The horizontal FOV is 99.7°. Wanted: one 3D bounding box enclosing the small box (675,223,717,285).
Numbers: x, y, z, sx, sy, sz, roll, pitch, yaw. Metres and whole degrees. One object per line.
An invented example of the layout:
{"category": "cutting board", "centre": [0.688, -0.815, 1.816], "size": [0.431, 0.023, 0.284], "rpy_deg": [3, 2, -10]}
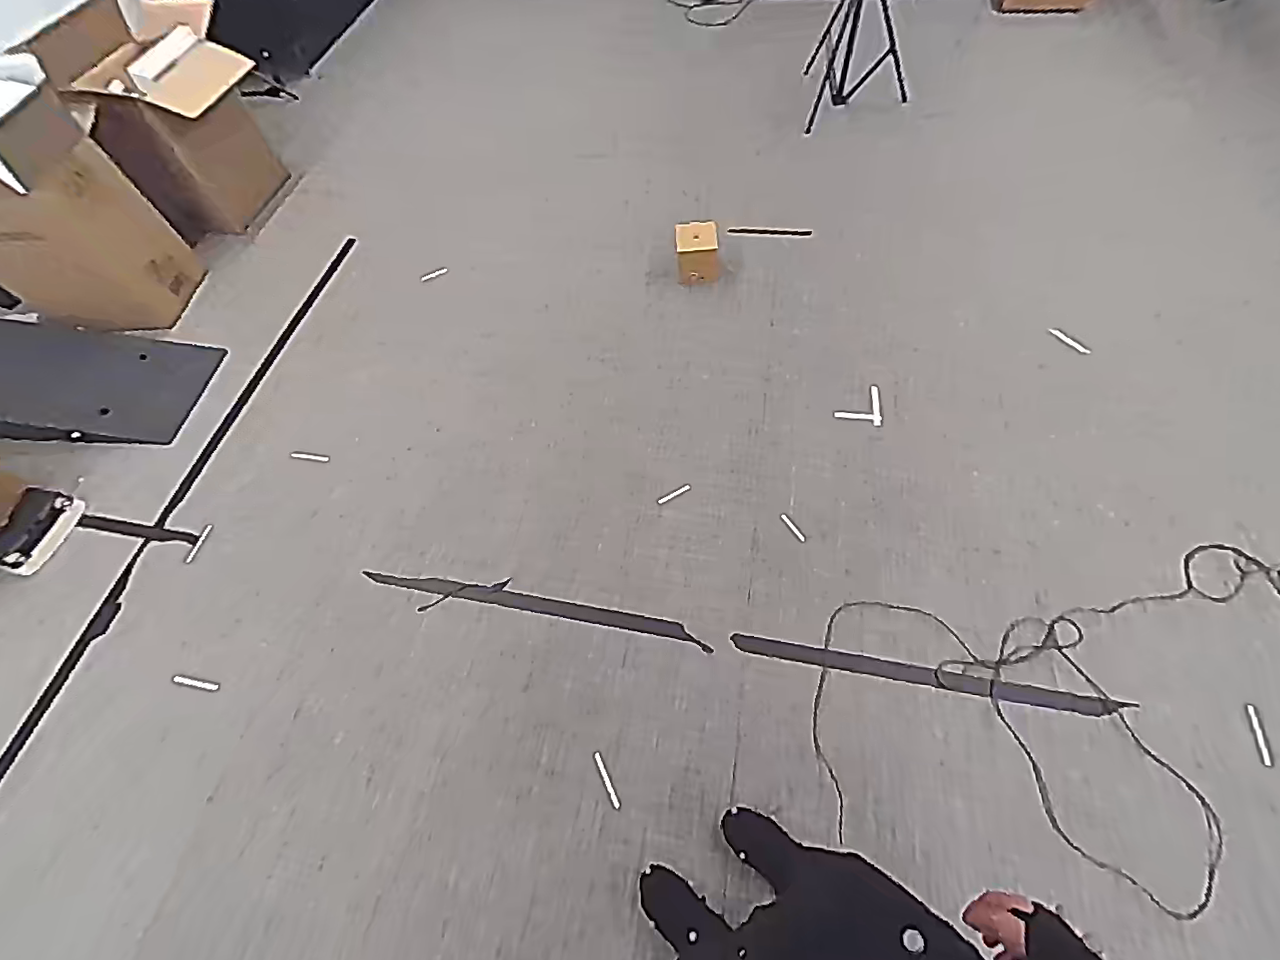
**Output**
{"category": "small box", "centre": [0.234, -0.949, 2.277], "size": [0.168, 0.176, 0.179], "rpy_deg": [-3, 60, 5]}
